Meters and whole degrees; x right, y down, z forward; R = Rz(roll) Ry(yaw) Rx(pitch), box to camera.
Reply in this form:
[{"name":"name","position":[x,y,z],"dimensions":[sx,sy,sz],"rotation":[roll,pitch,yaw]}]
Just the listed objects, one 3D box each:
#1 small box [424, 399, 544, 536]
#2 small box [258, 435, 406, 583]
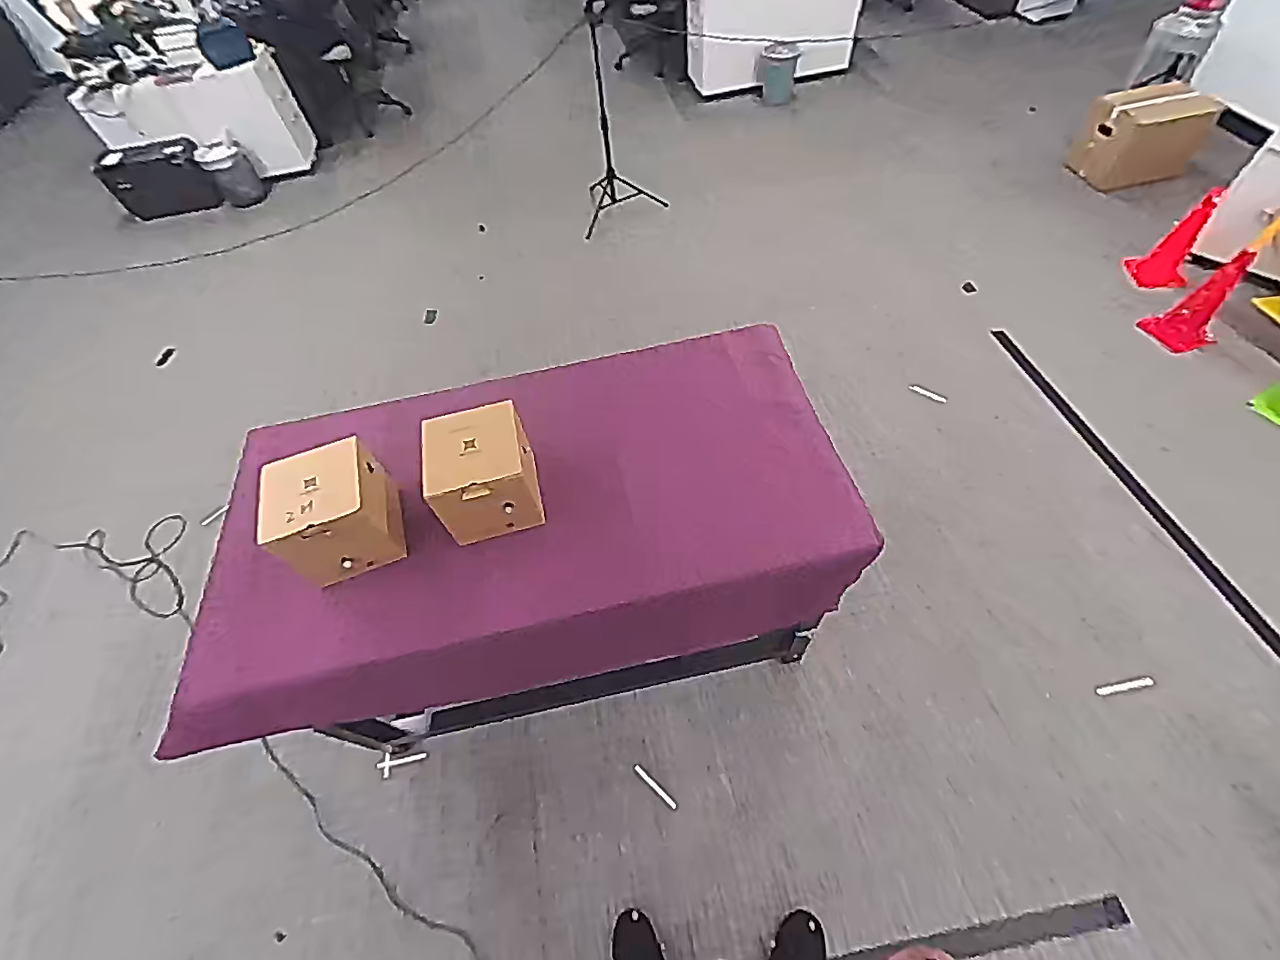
[{"name":"small box","position":[-0.280,-0.014,0.988],"dimensions":[0.168,0.176,0.179],"rotation":[-13,55,-4]},{"name":"small box","position":[-0.540,0.054,0.966],"dimensions":[0.168,0.176,0.179],"rotation":[-20,56,-7]}]
